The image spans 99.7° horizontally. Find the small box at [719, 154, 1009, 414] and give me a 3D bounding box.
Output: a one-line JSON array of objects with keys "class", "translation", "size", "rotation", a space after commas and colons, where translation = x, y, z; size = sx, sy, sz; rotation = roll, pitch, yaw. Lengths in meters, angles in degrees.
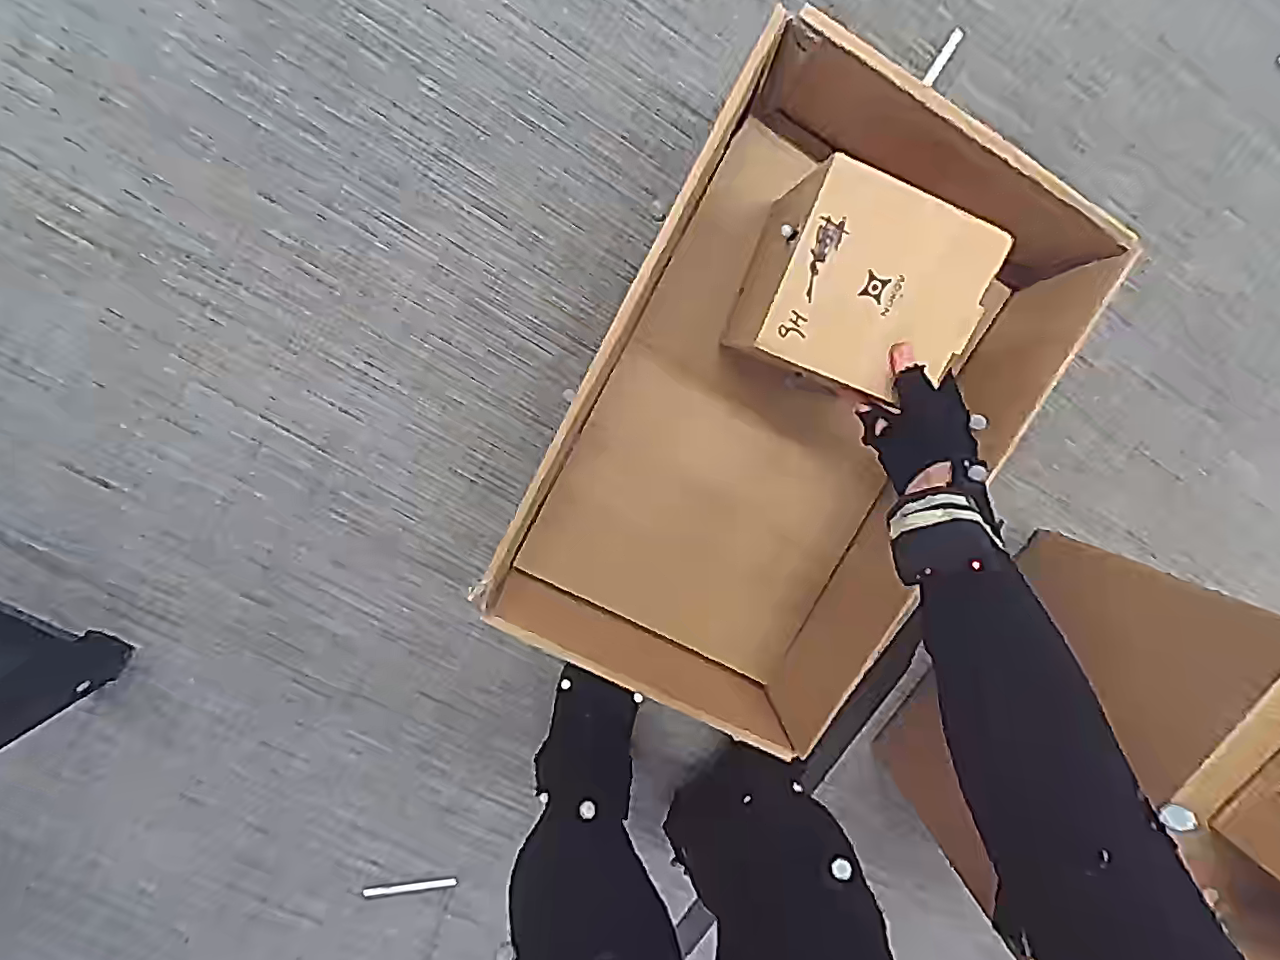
[{"class": "small box", "translation": [0.199, -0.184, 0.538], "size": [0.179, 0.176, 0.168], "rotation": [20, 104, -9]}]

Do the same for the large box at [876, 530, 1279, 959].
[{"class": "large box", "translation": [0.578, 0.333, 0.645], "size": [0.320, 0.320, 0.408], "rotation": [30, 99, -7]}]

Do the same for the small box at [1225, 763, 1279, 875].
[{"class": "small box", "translation": [0.614, 0.294, 0.392], "size": [0.179, 0.176, 0.168], "rotation": [33, 100, -9]}]
